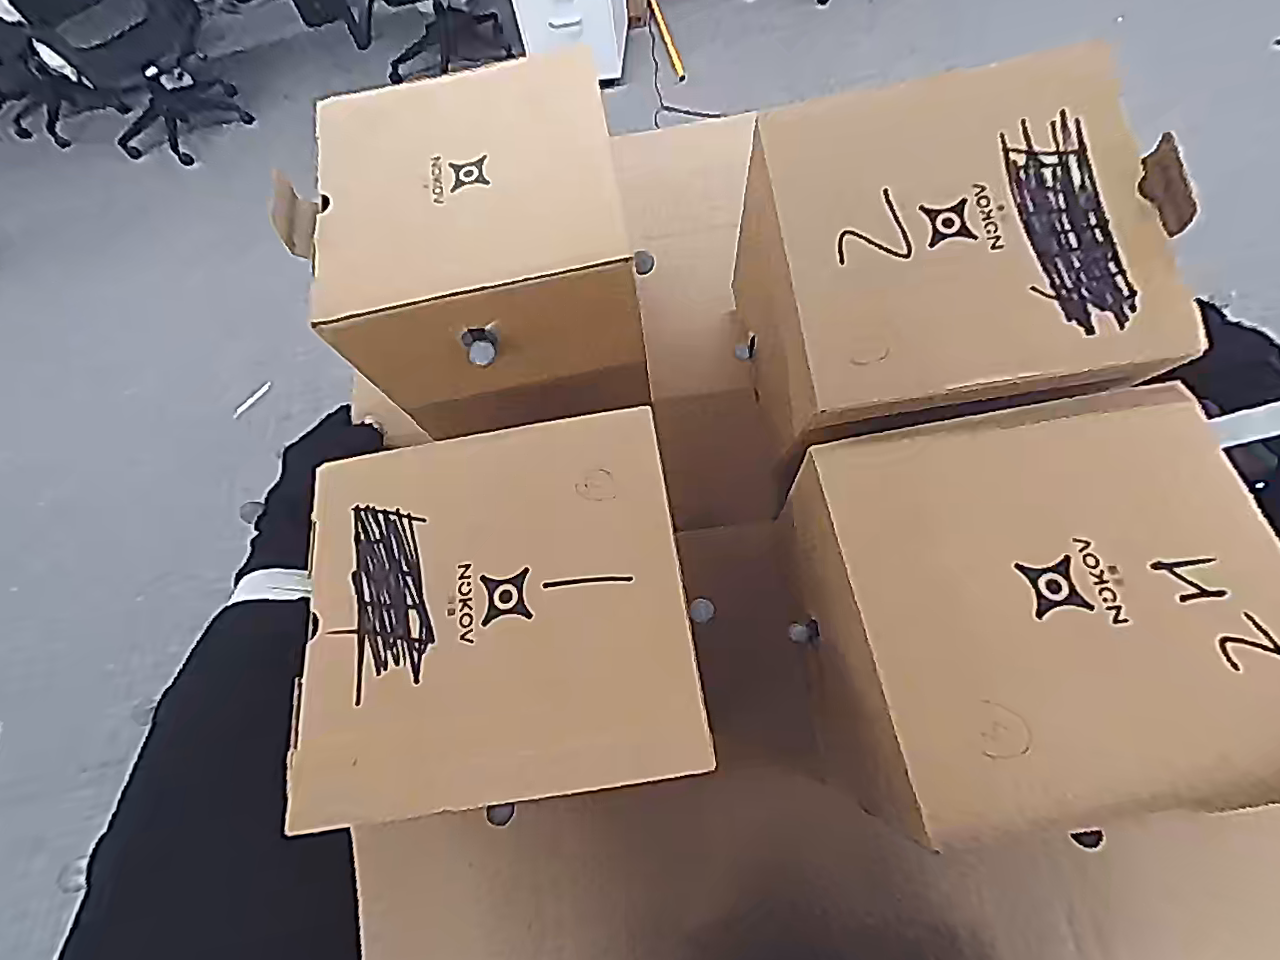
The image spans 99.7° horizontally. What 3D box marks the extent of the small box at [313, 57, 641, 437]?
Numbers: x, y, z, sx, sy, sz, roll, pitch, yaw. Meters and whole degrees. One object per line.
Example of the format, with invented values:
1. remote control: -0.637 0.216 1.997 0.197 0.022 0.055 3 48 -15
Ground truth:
1. small box: -0.098 -0.148 0.392 0.179 0.176 0.168 -12 69 3
